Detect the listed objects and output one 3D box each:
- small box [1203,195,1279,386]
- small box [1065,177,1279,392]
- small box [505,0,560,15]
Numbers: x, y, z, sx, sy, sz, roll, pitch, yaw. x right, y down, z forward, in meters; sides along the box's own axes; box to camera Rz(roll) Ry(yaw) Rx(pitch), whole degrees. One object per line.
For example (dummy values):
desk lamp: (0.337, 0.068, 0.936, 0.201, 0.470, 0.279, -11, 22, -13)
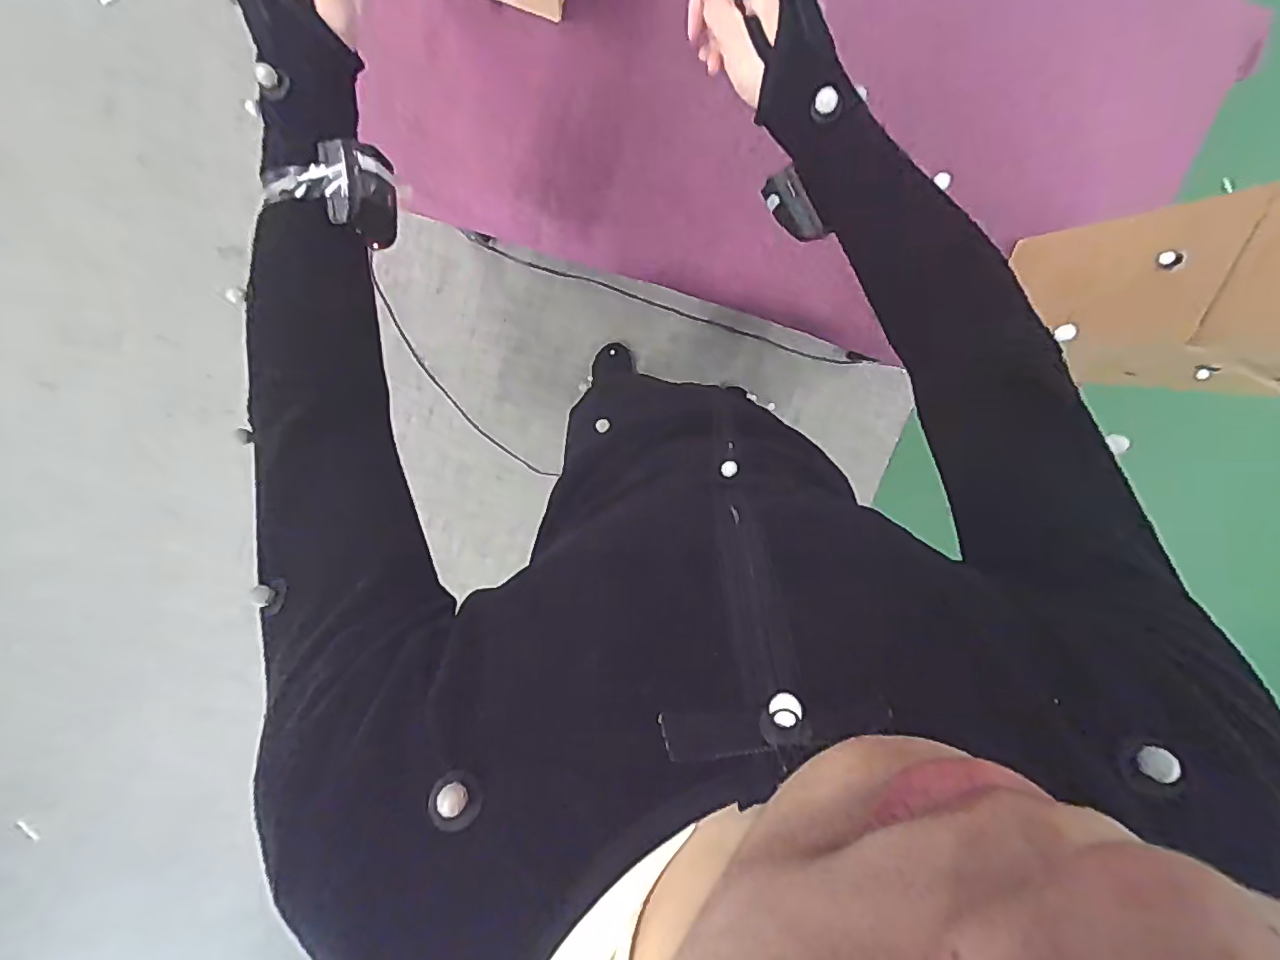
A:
small box: (0.693, -0.182, 0.491, 0.168, 0.176, 0.179, 18, 102, -10)
small box: (0.674, -0.220, 0.651, 0.168, 0.176, 0.179, 19, 101, -10)
small box: (-0.155, -0.677, 0.593, 0.168, 0.176, 0.179, 12, 104, -10)
